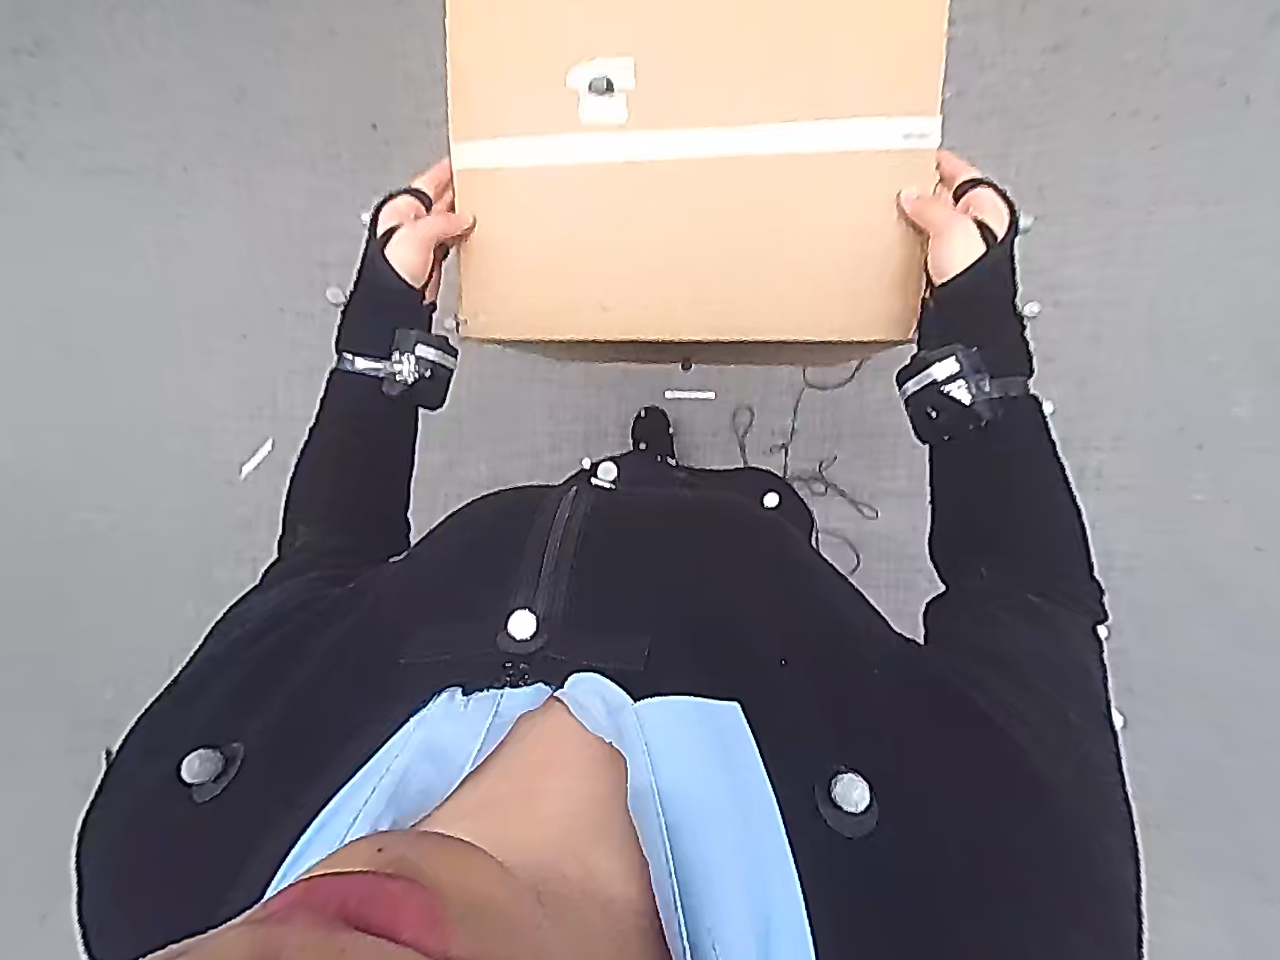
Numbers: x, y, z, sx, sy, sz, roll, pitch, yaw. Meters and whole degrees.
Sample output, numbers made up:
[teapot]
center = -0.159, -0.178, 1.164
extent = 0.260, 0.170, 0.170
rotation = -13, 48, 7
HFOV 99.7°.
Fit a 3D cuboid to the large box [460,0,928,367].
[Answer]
[large box]
center = 0.058, -0.297, 0.618
extent = 0.408, 0.320, 0.320
rotation = 1, 96, 8
